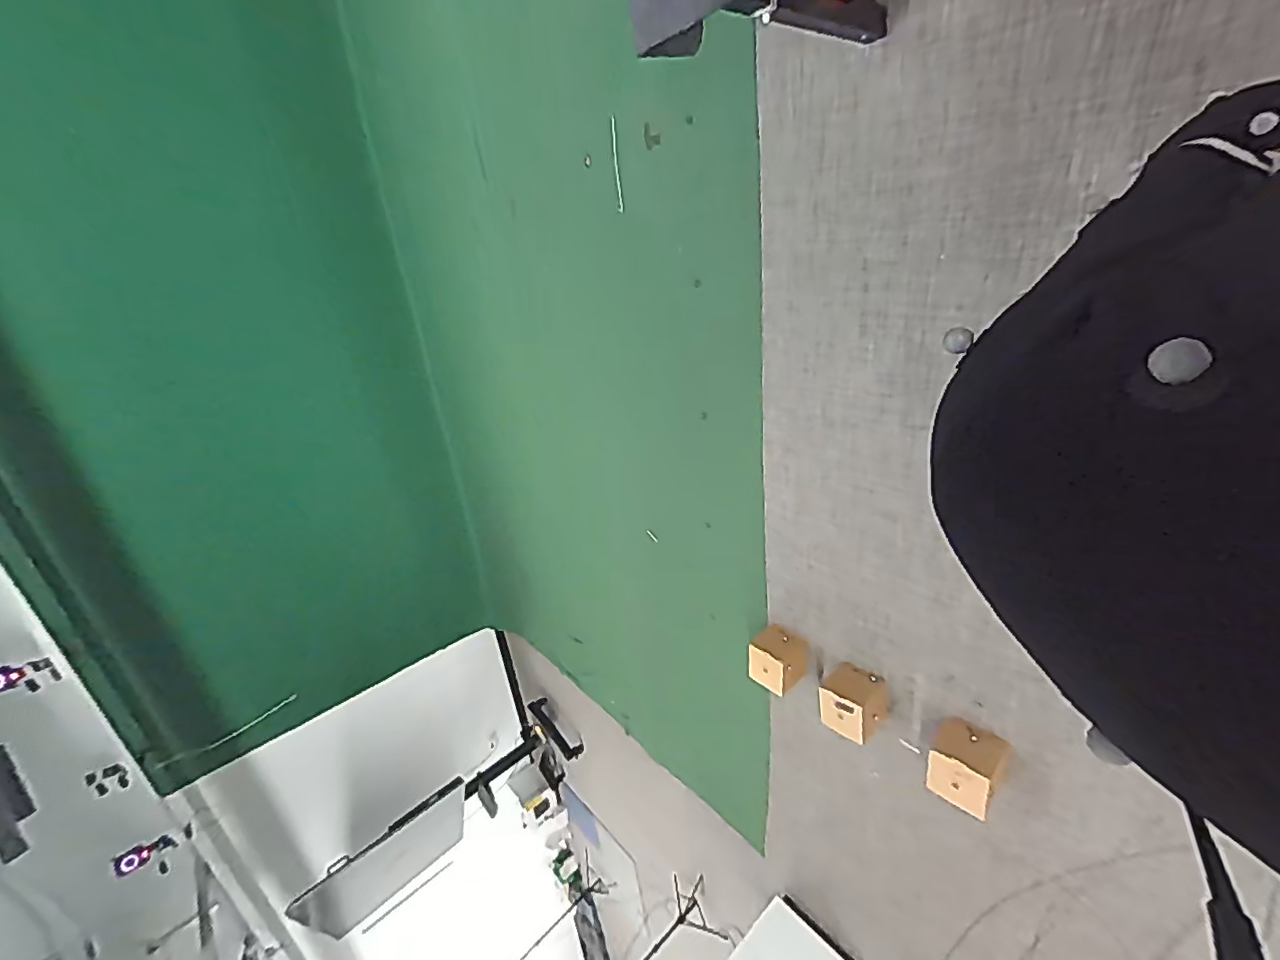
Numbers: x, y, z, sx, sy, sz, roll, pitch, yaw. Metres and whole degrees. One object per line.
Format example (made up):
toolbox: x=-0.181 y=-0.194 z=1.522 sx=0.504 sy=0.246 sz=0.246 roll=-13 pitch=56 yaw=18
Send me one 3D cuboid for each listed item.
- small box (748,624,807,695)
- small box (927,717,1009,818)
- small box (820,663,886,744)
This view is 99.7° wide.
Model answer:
small box: x=0.553 y=0.714 z=2.168 sx=0.168 sy=0.176 sz=0.179 roll=20 pitch=124 yaw=45
small box: x=1.008 y=0.877 z=1.664 sx=0.168 sy=0.176 sz=0.179 roll=16 pitch=121 yaw=46
small box: x=0.764 y=0.790 z=1.935 sx=0.168 sy=0.176 sz=0.179 roll=15 pitch=121 yaw=48
